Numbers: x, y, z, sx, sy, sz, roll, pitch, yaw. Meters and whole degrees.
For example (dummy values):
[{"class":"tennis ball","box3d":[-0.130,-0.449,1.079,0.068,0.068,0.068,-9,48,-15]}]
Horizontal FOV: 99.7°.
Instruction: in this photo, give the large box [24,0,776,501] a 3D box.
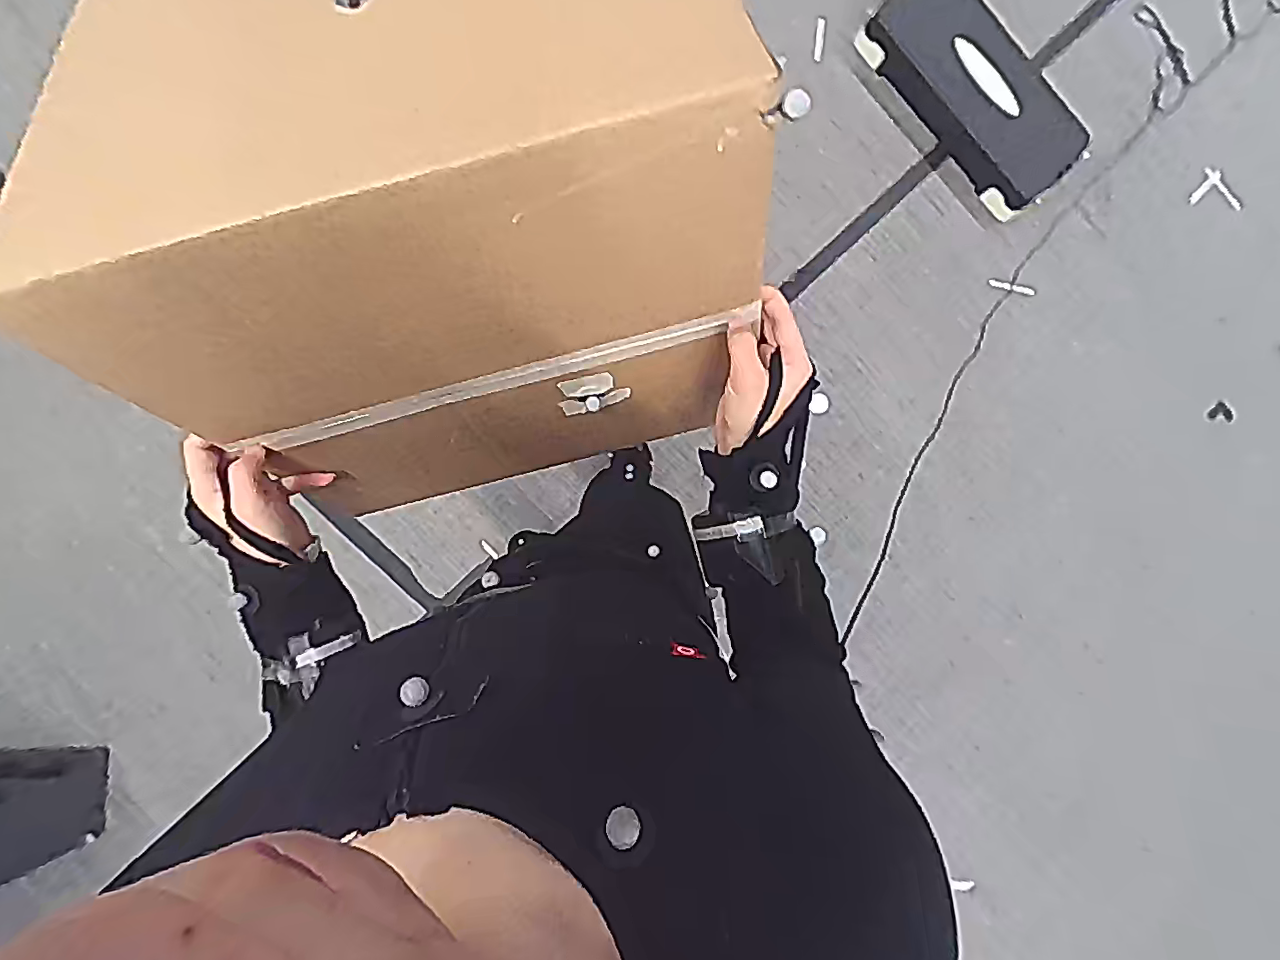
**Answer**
[{"class":"large box","box3d":[-0.139,-0.219,0.462,0.408,0.320,0.320,-14,67,2]}]
